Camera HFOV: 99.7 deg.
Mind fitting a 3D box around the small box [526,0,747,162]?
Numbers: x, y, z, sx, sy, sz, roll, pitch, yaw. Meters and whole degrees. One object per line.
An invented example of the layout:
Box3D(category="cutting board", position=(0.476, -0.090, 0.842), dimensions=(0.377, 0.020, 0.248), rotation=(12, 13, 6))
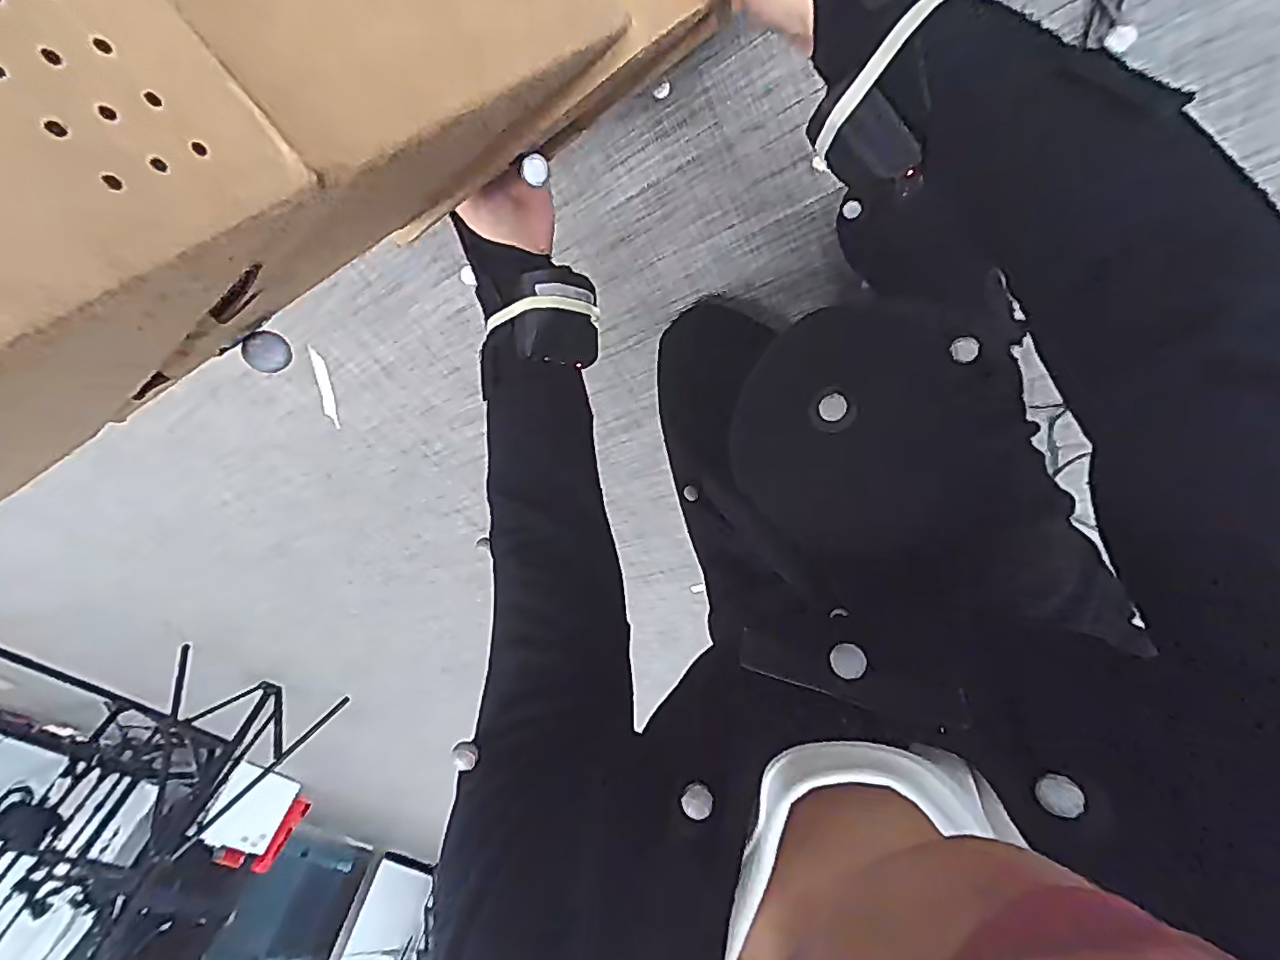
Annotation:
Box3D(category="small box", position=(-0.038, -0.370, 0.372), dimensions=(0.168, 0.176, 0.179), rotation=(-14, 129, 36))

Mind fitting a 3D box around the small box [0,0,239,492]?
Box3D(category="small box", position=(-0.187, -0.033, 0.044), dimensions=(0.179, 0.176, 0.168), rotation=(-13, 128, 36))

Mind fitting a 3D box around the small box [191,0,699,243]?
Box3D(category="small box", position=(-0.084, -0.260, 0.262), dimensions=(0.179, 0.176, 0.168), rotation=(-14, 129, 36))
